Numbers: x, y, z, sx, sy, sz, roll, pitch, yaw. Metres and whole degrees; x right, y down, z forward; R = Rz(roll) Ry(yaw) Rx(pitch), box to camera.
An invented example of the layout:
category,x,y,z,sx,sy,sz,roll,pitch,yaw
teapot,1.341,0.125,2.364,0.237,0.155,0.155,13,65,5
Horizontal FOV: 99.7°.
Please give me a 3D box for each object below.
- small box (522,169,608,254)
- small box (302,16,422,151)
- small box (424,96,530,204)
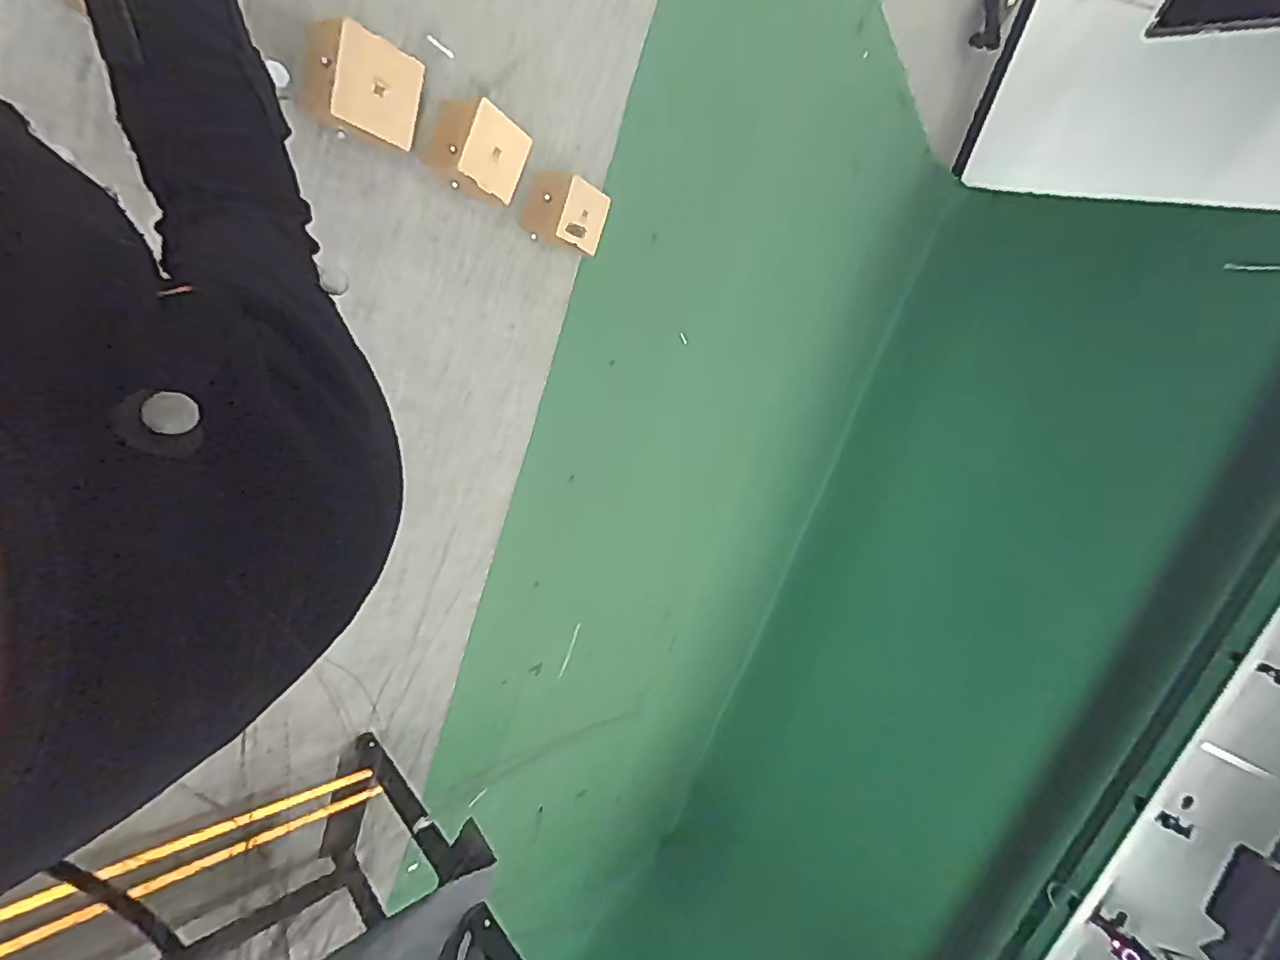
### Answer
category,x,y,z,sx,sy,sz,roll,pitch,yaw
small box,-0.232,-0.810,1.632,0.168,0.176,0.179,5,108,-53
small box,-0.595,-0.834,1.151,0.168,0.176,0.179,-1,115,-50
small box,-0.419,-0.837,1.375,0.168,0.176,0.179,12,103,-55
